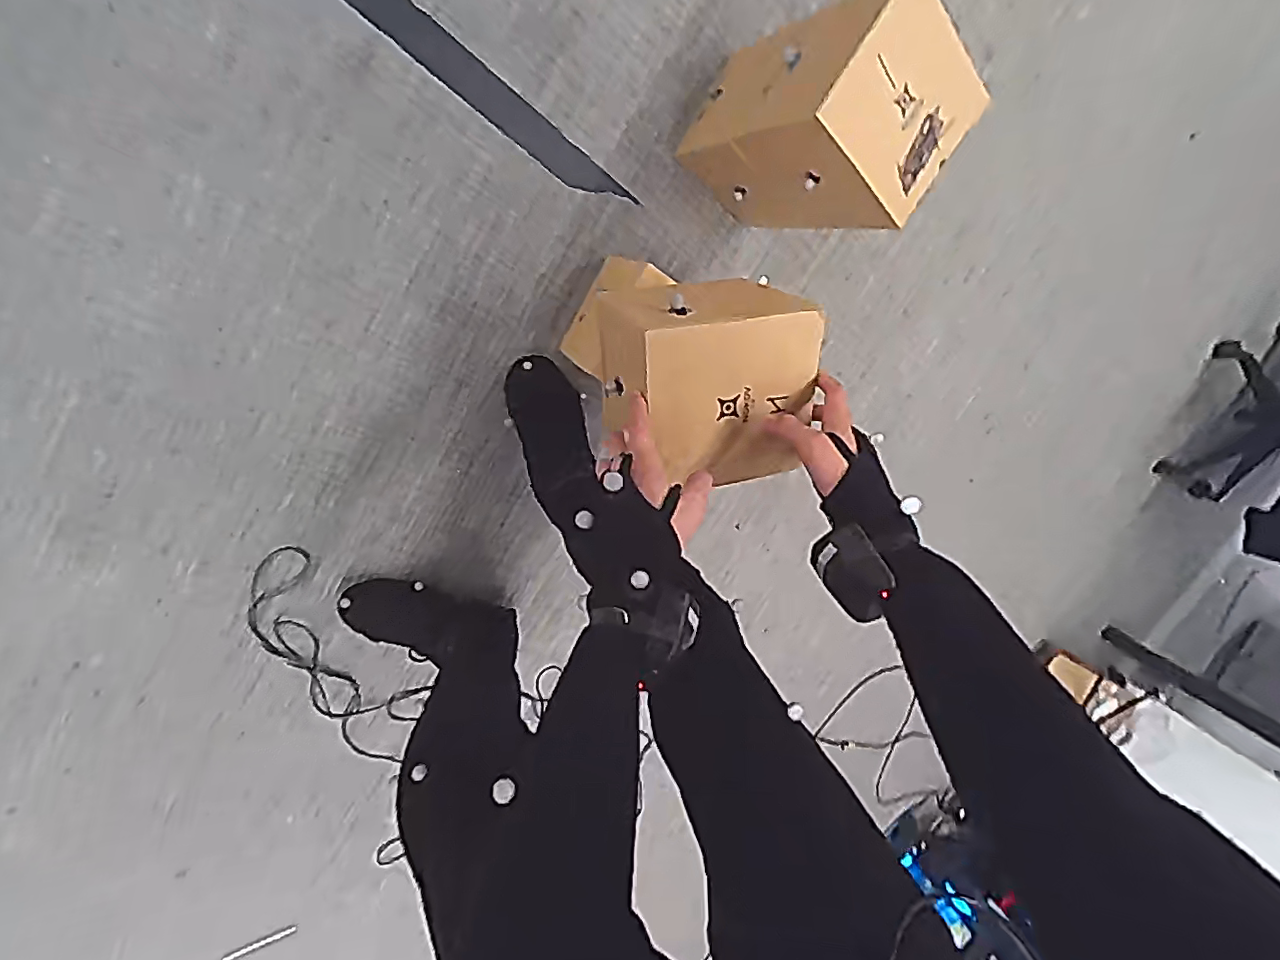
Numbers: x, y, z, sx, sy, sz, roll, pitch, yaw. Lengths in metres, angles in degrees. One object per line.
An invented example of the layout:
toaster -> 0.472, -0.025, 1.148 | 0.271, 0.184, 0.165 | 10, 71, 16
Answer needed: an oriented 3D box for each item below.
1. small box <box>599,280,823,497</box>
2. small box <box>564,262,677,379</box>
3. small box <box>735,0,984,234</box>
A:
small box -> 0.059, -0.106, 0.565 | 0.179, 0.176, 0.168 | -12, 122, -15
small box -> 0.007, -0.214, 0.829 | 0.179, 0.176, 0.168 | 24, 102, -32
small box -> 0.251, -0.422, 0.643 | 0.179, 0.176, 0.168 | 29, 99, -31
